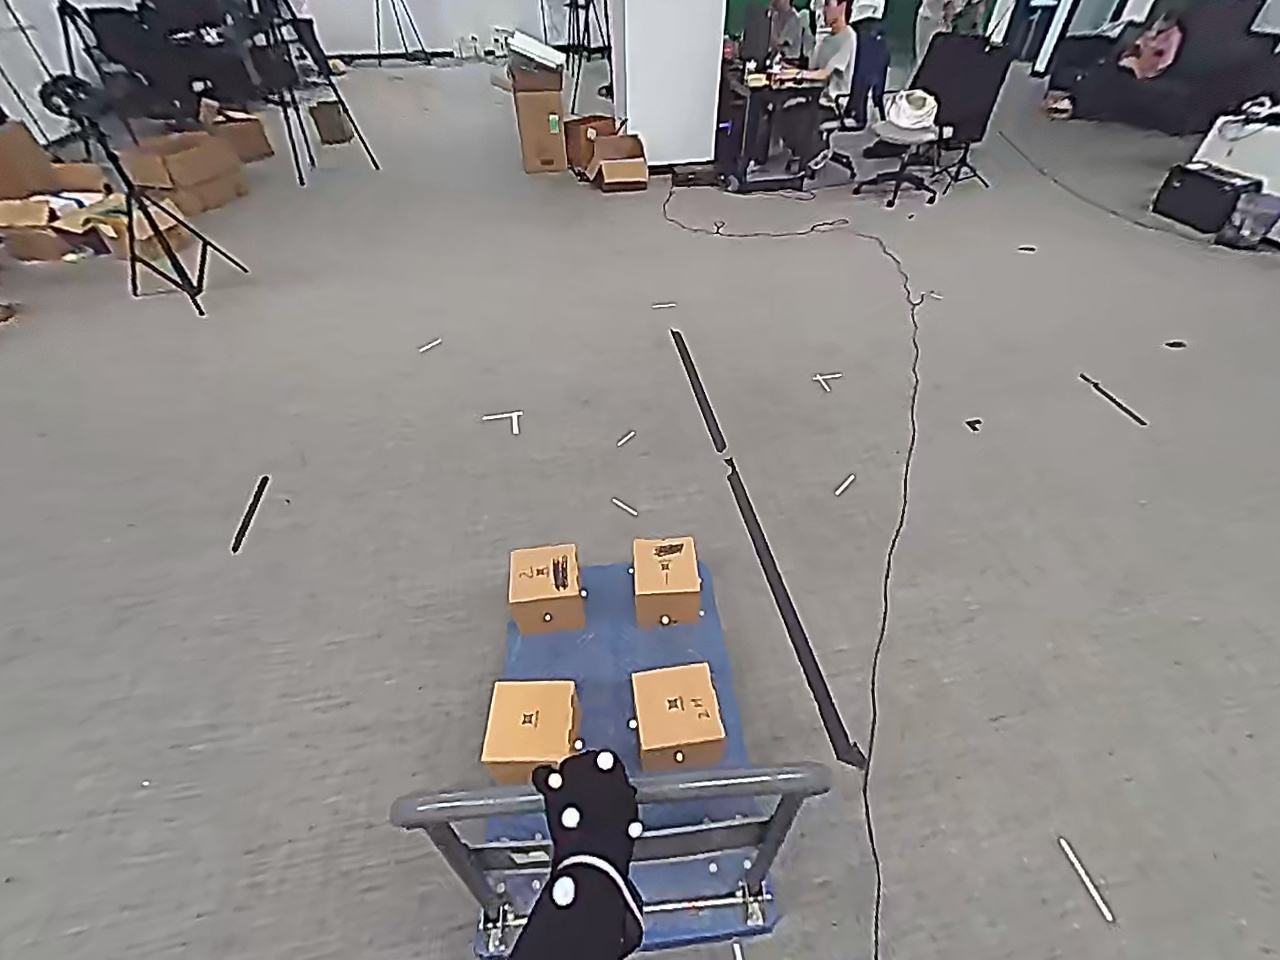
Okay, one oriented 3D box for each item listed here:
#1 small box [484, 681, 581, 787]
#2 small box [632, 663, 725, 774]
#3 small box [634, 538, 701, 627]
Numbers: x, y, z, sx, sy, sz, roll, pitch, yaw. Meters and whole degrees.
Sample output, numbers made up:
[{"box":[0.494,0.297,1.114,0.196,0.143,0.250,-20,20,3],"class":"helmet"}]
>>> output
[{"box":[-0.226,0.559,1.184,0.179,0.176,0.168,0,44,-2],"class":"small box"},{"box":[0.081,0.533,1.203,0.179,0.176,0.168,-6,45,-5],"class":"small box"},{"box":[0.068,0.277,1.464,0.168,0.176,0.179,-3,46,-2],"class":"small box"}]
